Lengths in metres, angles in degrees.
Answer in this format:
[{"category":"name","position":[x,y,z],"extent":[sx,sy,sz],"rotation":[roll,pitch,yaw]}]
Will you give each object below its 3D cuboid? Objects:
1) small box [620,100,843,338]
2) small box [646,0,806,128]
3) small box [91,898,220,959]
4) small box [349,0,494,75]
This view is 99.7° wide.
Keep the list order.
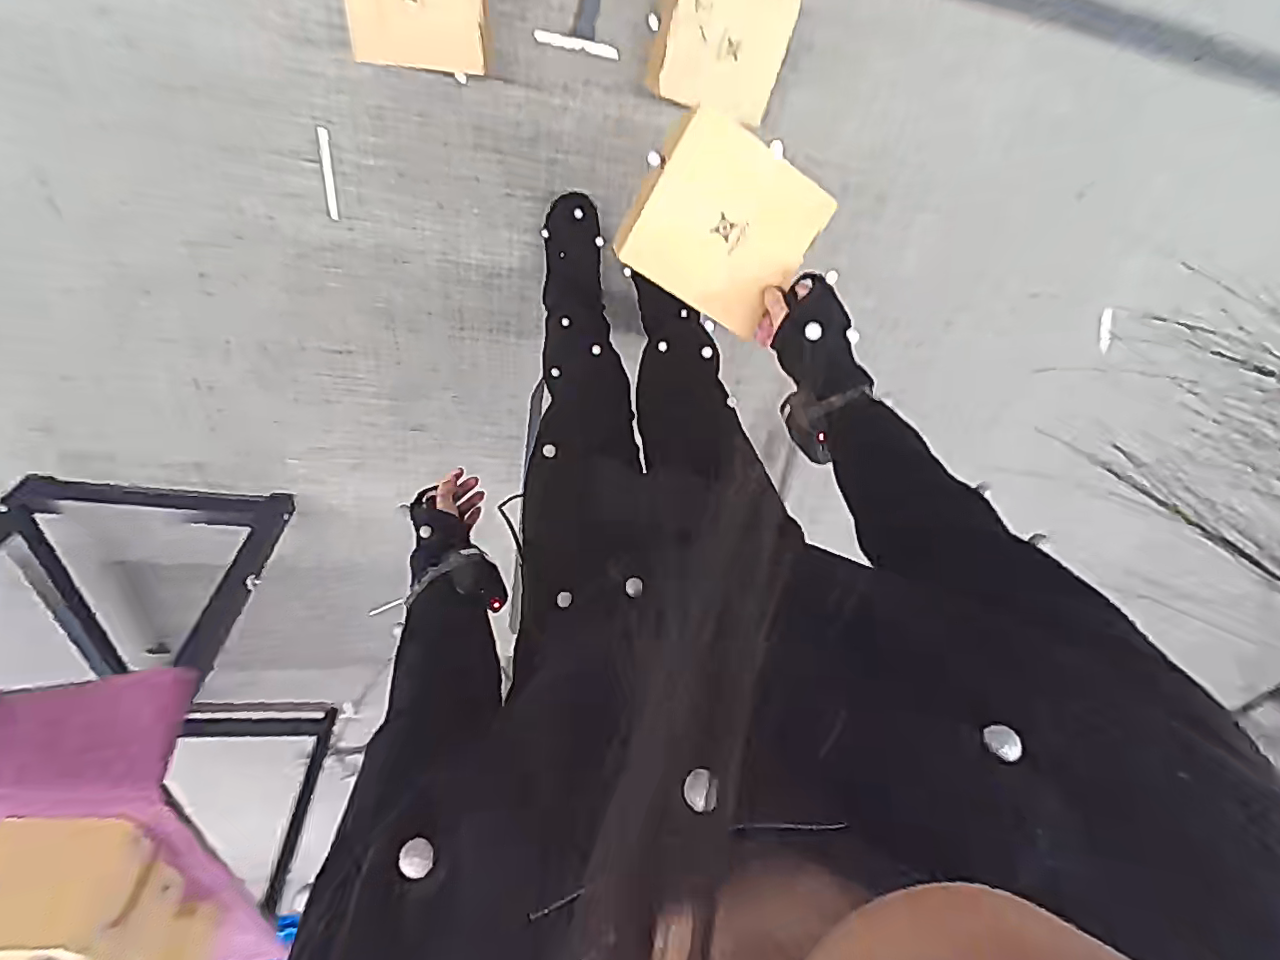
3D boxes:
[{"category":"small box","position":[0.088,-0.292,0.627],"extent":[0.179,0.176,0.168],"rotation":[25,113,-18]},{"category":"small box","position":[0.121,-0.684,0.847],"extent":[0.179,0.176,0.168],"rotation":[7,129,-16]},{"category":"small box","position":[-1.055,1.032,1.172],"extent":[0.179,0.176,0.168],"rotation":[4,130,-11]},{"category":"small box","position":[-0.304,-0.696,0.770],"extent":[0.179,0.176,0.168],"rotation":[1,129,-8]}]
